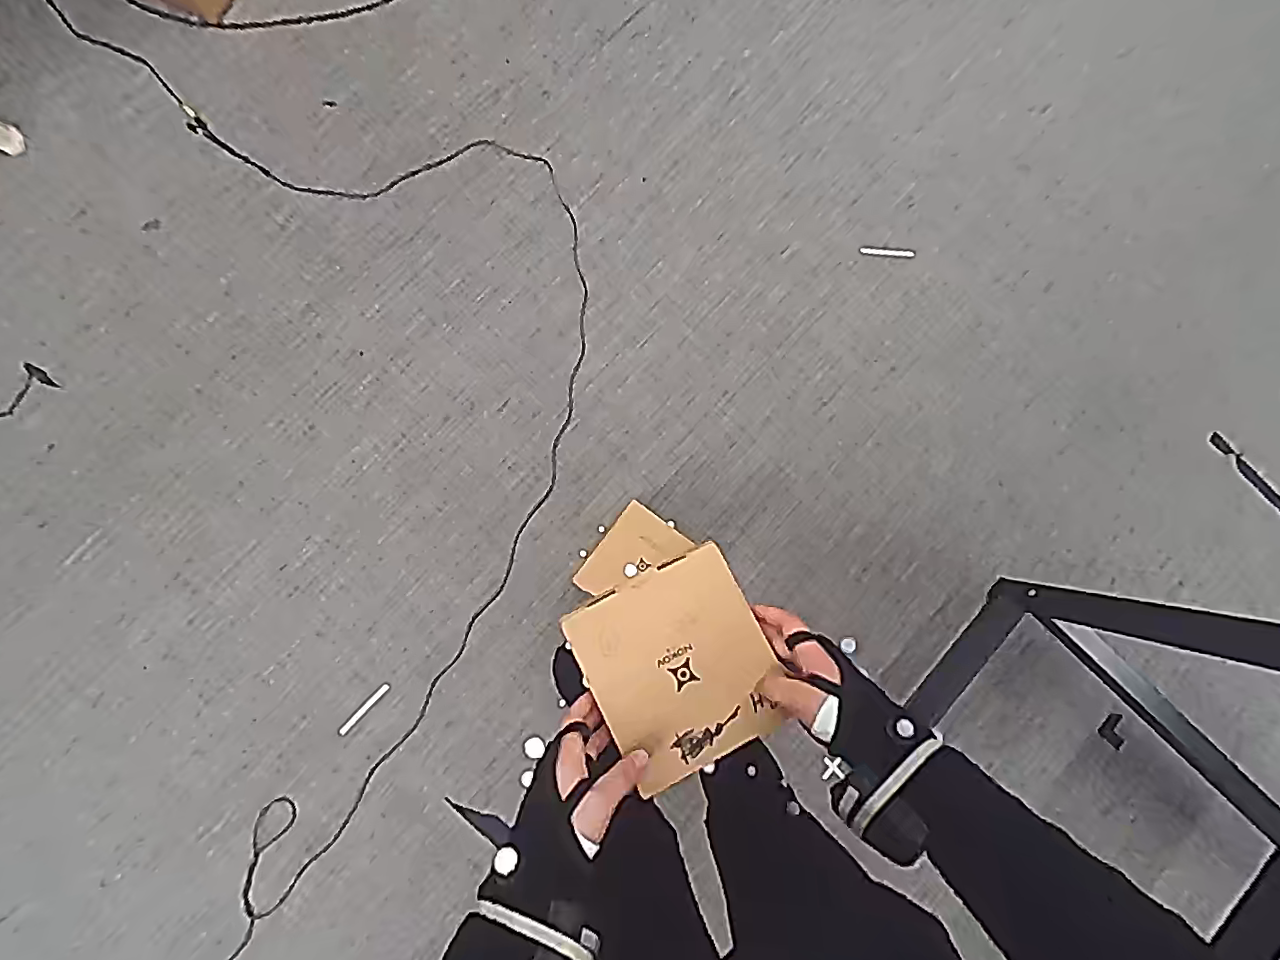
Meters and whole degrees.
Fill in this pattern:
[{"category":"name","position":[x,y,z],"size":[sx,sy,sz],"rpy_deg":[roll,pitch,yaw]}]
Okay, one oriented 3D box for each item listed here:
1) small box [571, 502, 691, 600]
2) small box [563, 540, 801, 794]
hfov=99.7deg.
[{"category":"small box","position":[-0.006,0.160,0.989],"size":[0.168,0.176,0.179],"rpy_deg":[37,83,-2]},{"category":"small box","position":[0.035,0.183,0.576],"size":[0.168,0.176,0.179],"rpy_deg":[-28,82,-6]}]
